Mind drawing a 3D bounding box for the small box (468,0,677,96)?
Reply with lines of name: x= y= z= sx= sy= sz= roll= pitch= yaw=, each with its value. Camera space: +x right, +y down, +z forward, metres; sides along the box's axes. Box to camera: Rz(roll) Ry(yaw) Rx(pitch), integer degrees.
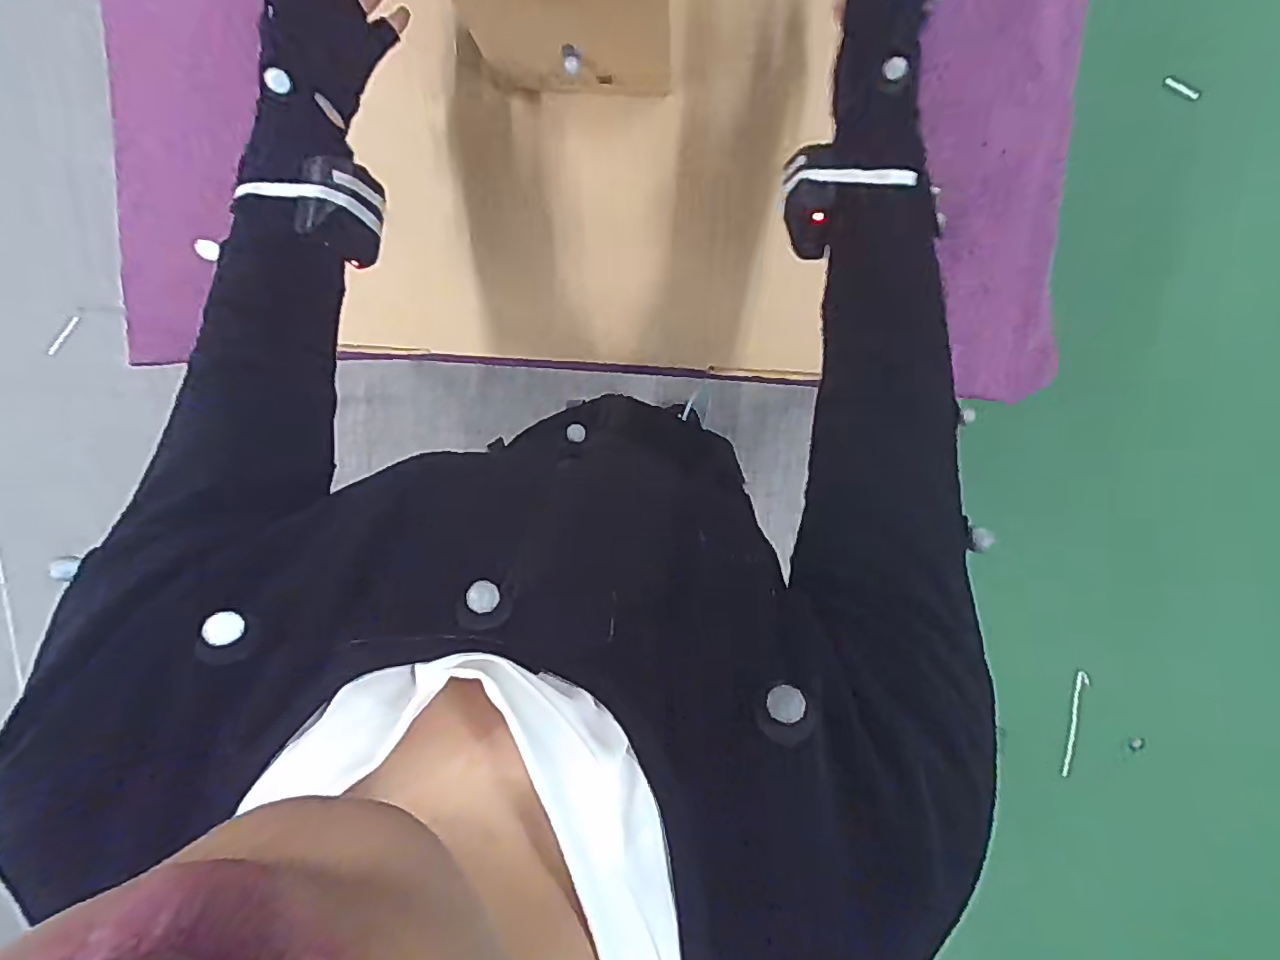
small box: x=-0.052 y=-0.447 z=0.424 sx=0.168 sy=0.176 sz=0.179 roll=5 pitch=97 yaw=4
